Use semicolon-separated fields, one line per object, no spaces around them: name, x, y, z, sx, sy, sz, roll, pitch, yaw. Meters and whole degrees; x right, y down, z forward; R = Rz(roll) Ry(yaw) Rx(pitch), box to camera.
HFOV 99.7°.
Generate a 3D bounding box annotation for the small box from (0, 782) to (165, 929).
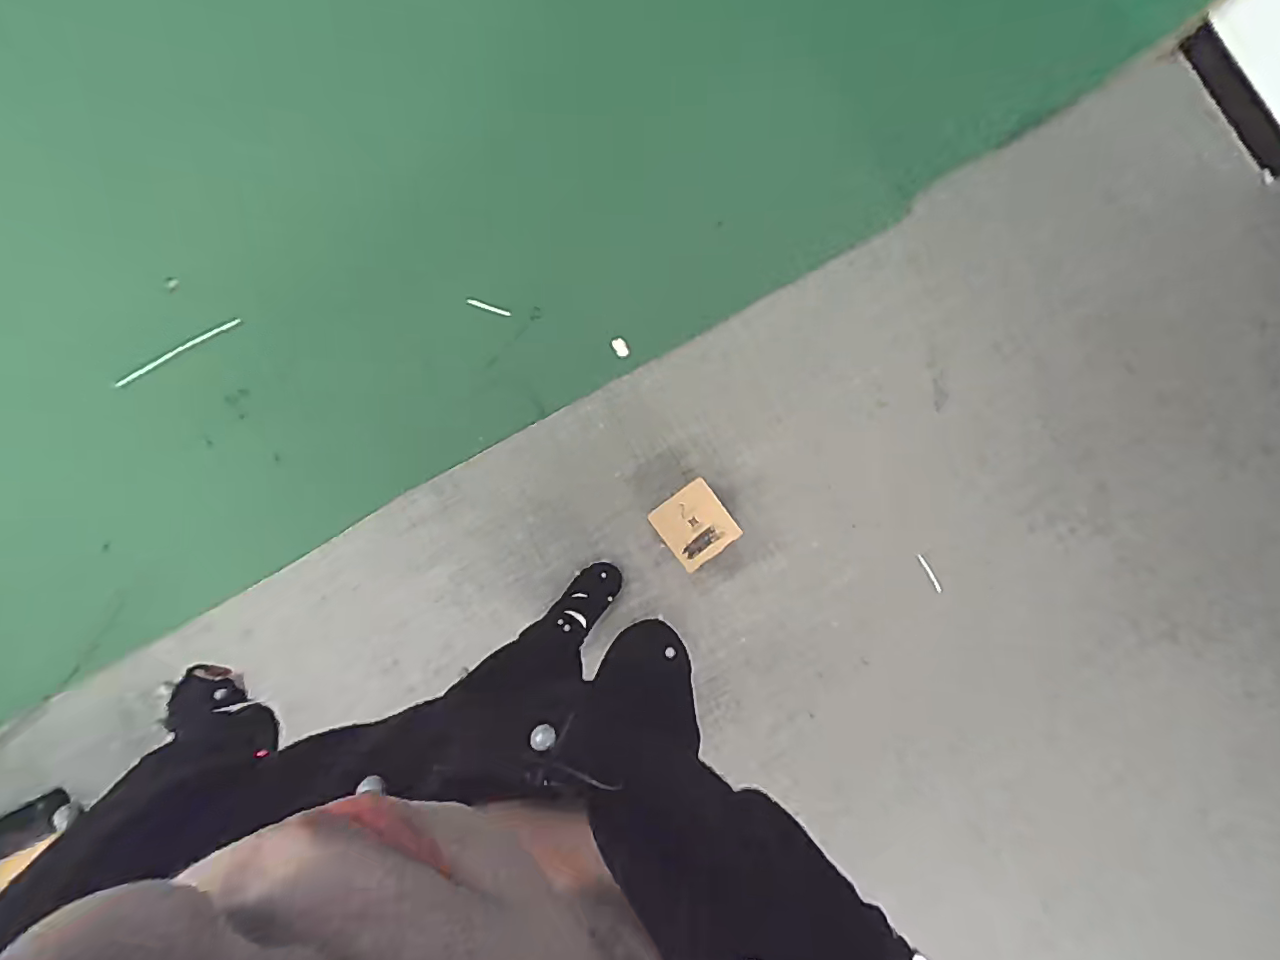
small box;-1.185;0.794;1.166;0.179;0.176;0.168;-24;87;-3
